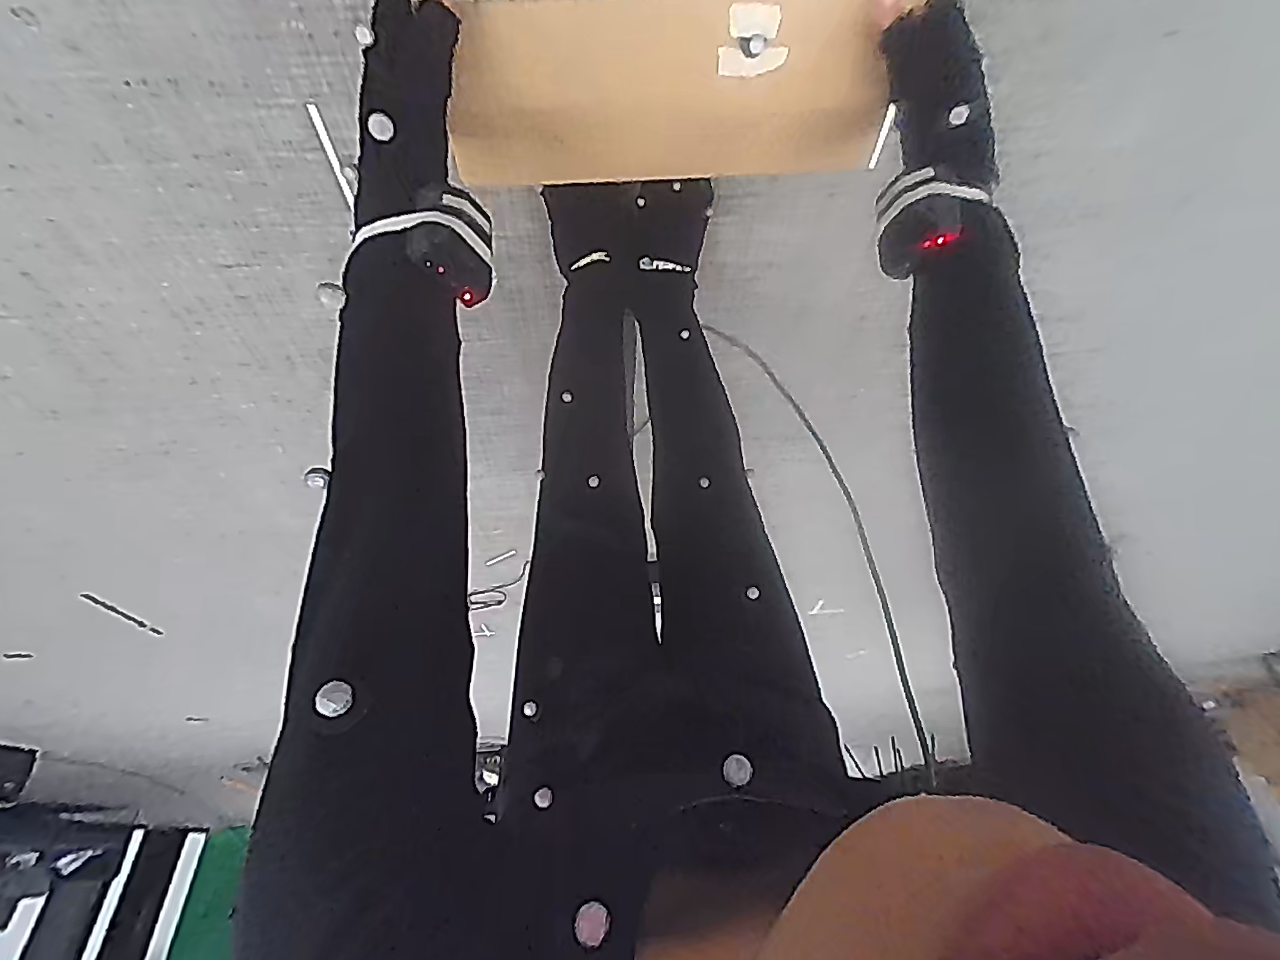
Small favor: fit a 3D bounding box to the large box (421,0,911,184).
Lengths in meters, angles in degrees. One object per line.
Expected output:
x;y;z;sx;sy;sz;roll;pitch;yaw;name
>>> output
0.011;-0.517;0.499;0.408;0.320;0.320;-5;146;-2;large box
